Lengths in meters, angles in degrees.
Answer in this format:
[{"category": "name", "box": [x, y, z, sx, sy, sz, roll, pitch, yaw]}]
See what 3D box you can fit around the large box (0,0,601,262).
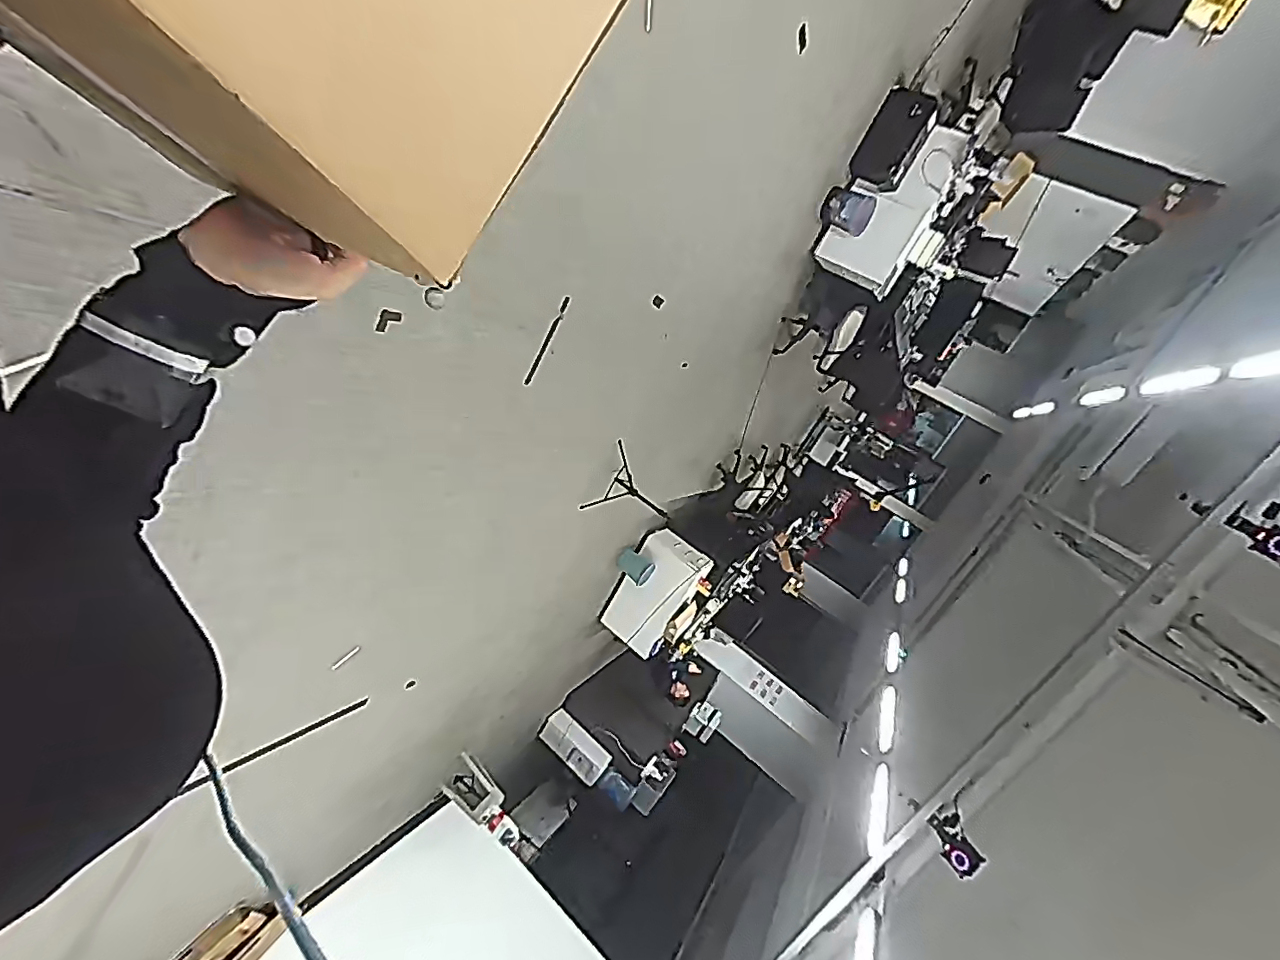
[{"category": "large box", "box": [-0.218, -0.361, 0.184, 0.320, 0.320, 0.408, -59, 158, -1]}]
